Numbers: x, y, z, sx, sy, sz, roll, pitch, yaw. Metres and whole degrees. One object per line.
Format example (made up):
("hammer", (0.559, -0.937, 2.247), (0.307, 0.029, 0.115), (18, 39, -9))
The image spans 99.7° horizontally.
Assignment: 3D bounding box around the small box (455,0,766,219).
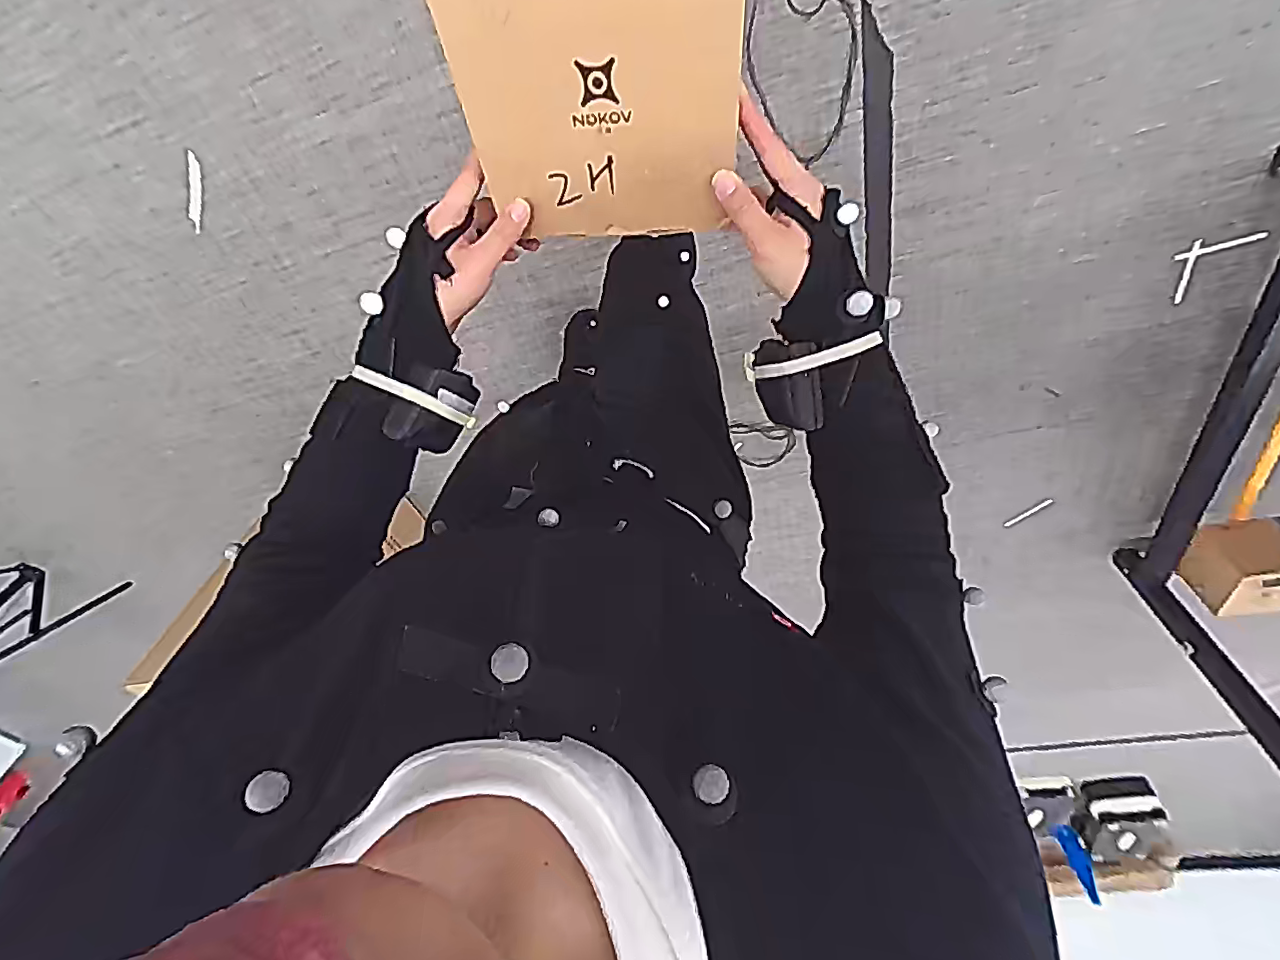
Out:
("small box", (-0.010, -0.299, 0.349), (0.168, 0.176, 0.179), (1, 147, 6))
